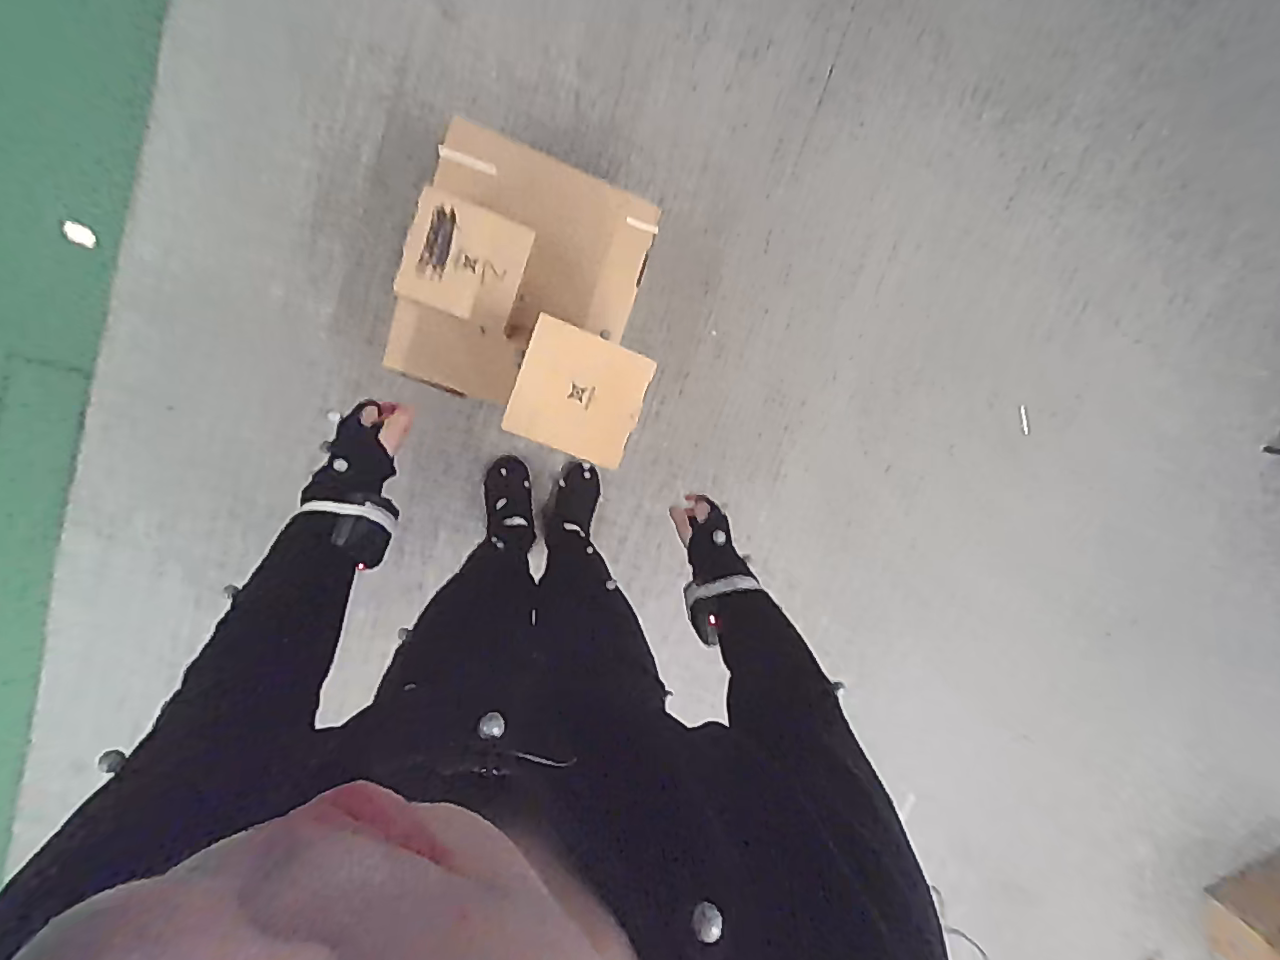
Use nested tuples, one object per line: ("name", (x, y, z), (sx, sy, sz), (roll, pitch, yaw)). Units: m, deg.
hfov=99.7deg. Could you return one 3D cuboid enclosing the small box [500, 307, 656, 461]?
("small box", (-0.101, -0.143, 0.820), (0.179, 0.176, 0.168), (19, 97, -17))
